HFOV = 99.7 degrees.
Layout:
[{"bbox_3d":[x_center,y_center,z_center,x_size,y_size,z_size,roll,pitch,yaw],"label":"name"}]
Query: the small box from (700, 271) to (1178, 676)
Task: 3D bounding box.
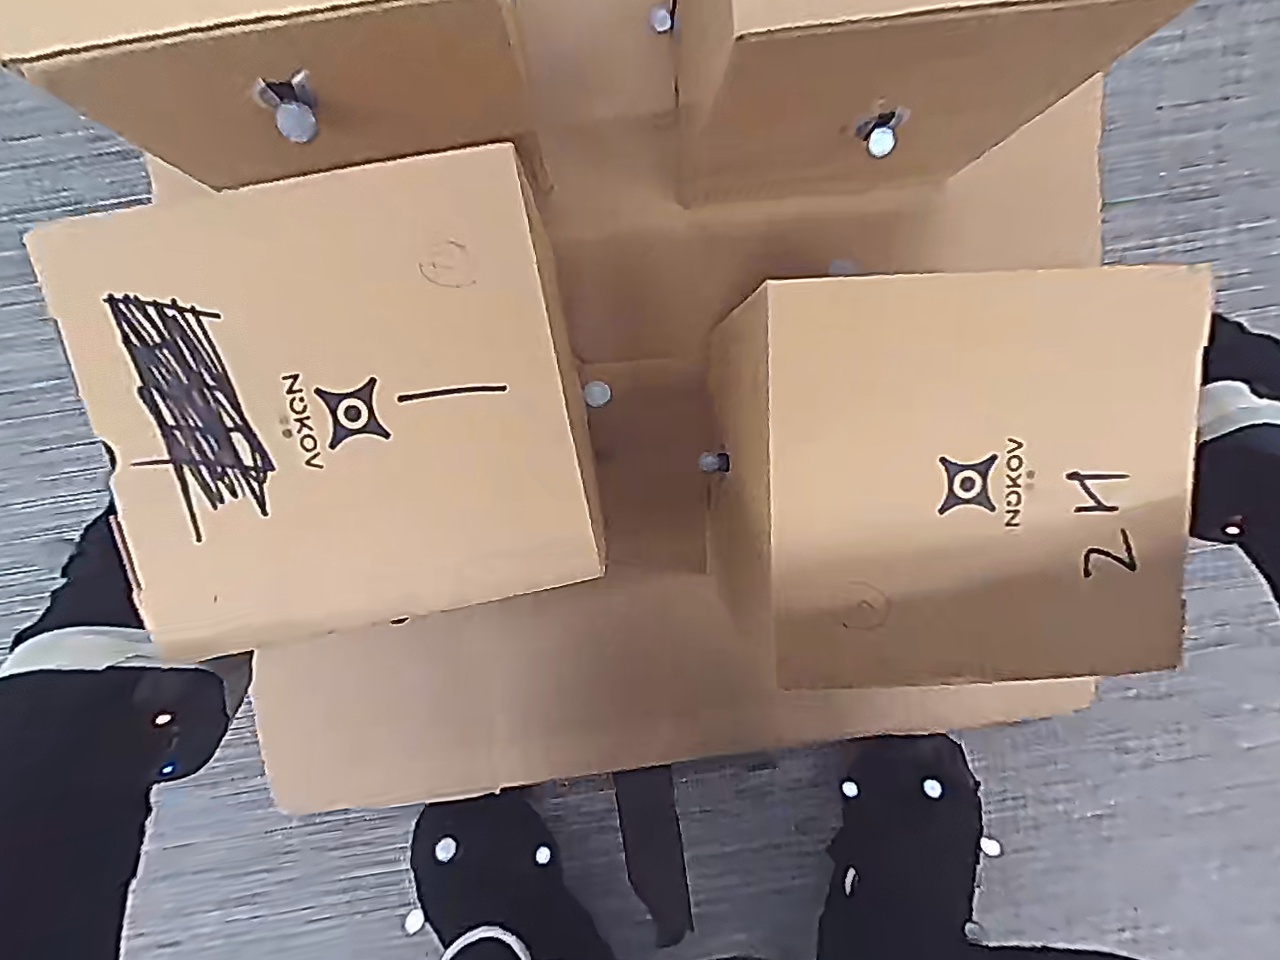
[{"bbox_3d":[0.127,-0.008,0.300,0.179,0.176,0.168,-2,96,-2],"label":"small box"}]
